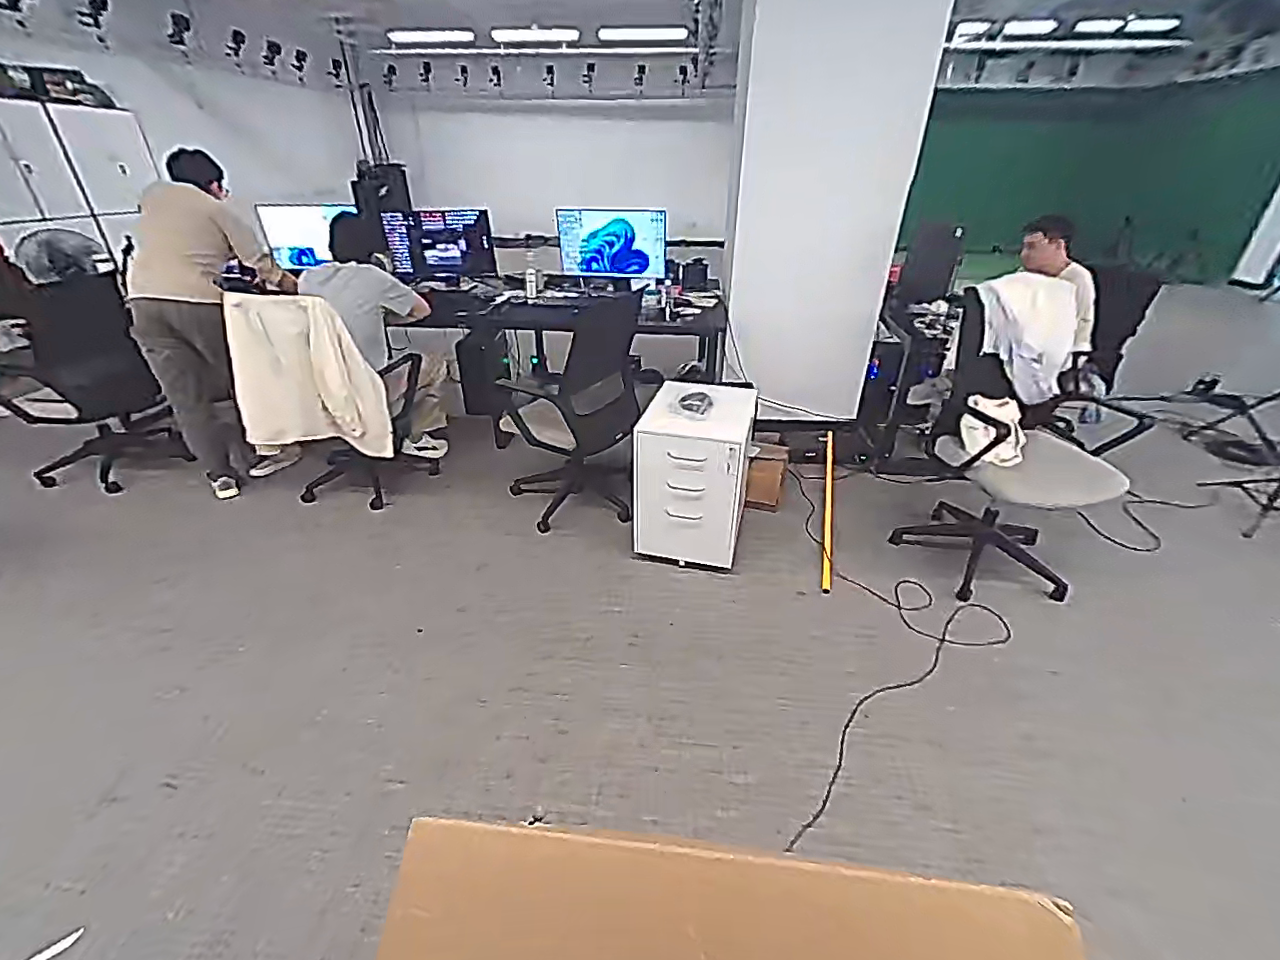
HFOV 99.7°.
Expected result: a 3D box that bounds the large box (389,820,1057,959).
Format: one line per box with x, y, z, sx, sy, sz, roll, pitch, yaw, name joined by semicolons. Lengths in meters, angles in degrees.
0.048;0.451;0.393;0.408;0.320;0.320;0;58;10;large box
